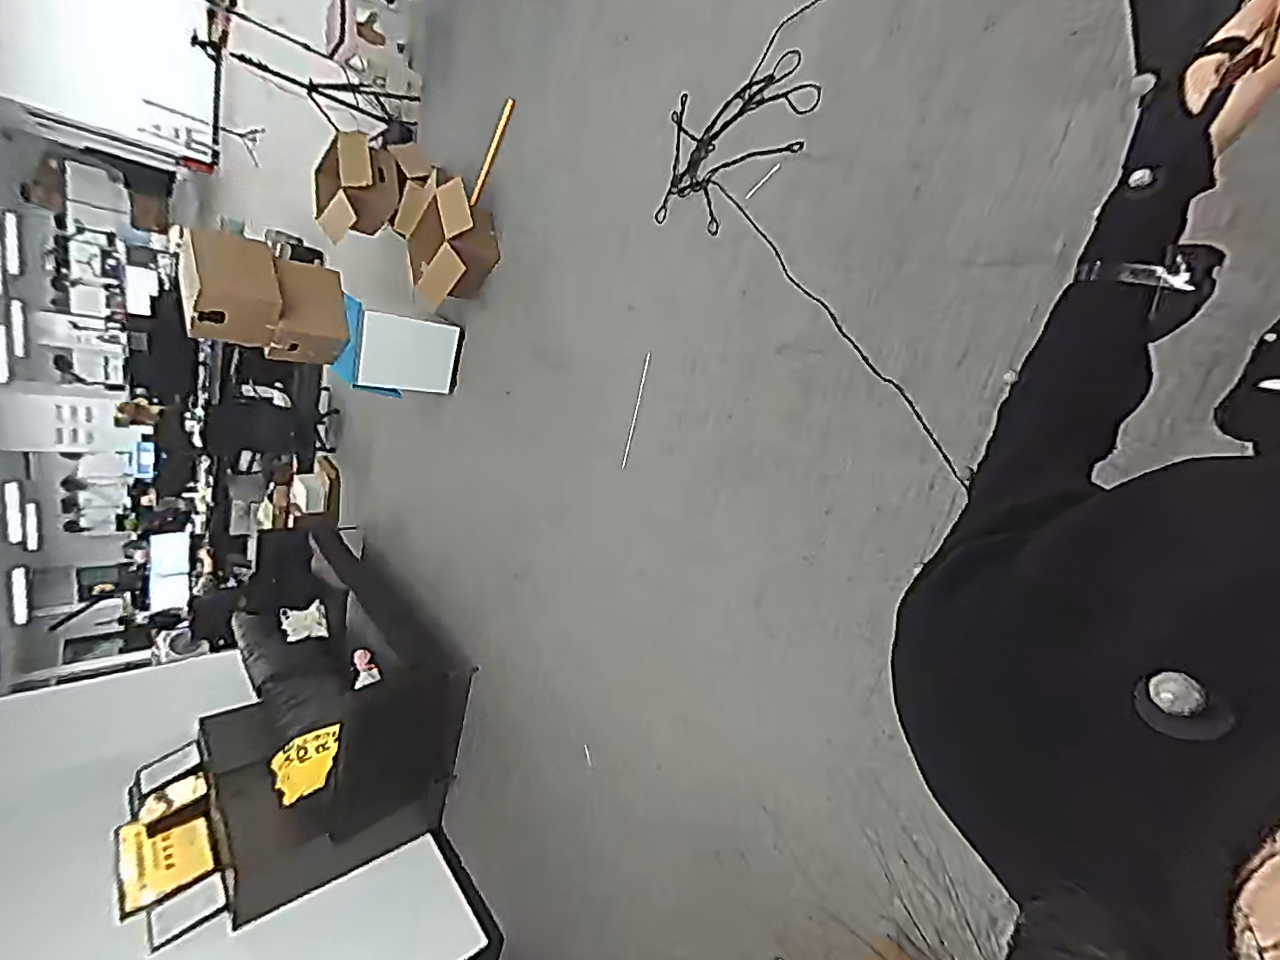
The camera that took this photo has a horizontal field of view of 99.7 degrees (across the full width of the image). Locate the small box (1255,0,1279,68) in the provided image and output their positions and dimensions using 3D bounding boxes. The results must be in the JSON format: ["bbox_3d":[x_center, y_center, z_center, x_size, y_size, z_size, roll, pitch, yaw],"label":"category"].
[{"bbox_3d":[0.536,-0.382,0.333,0.179,0.176,0.168,16,122,38],"label":"small box"}]
